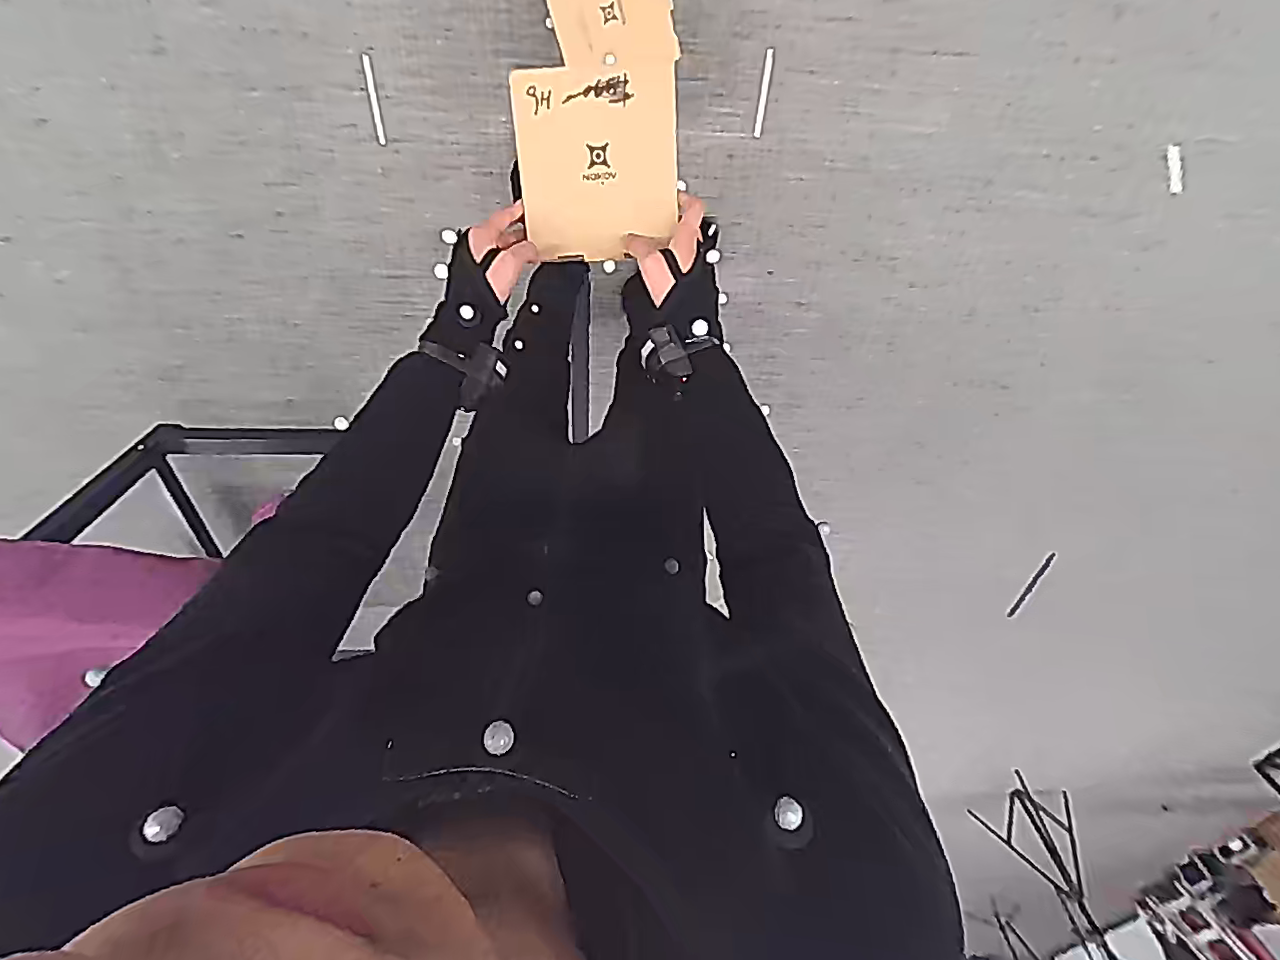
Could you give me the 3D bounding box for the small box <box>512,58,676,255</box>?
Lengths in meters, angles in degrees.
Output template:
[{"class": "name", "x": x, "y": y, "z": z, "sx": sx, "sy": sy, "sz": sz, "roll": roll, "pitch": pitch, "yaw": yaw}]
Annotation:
[{"class": "small box", "x": -0.042, "y": -0.365, "z": 0.639, "sx": 0.168, "sy": 0.176, "sz": 0.179, "roll": -2, "pitch": 113, "yaw": 1}]
